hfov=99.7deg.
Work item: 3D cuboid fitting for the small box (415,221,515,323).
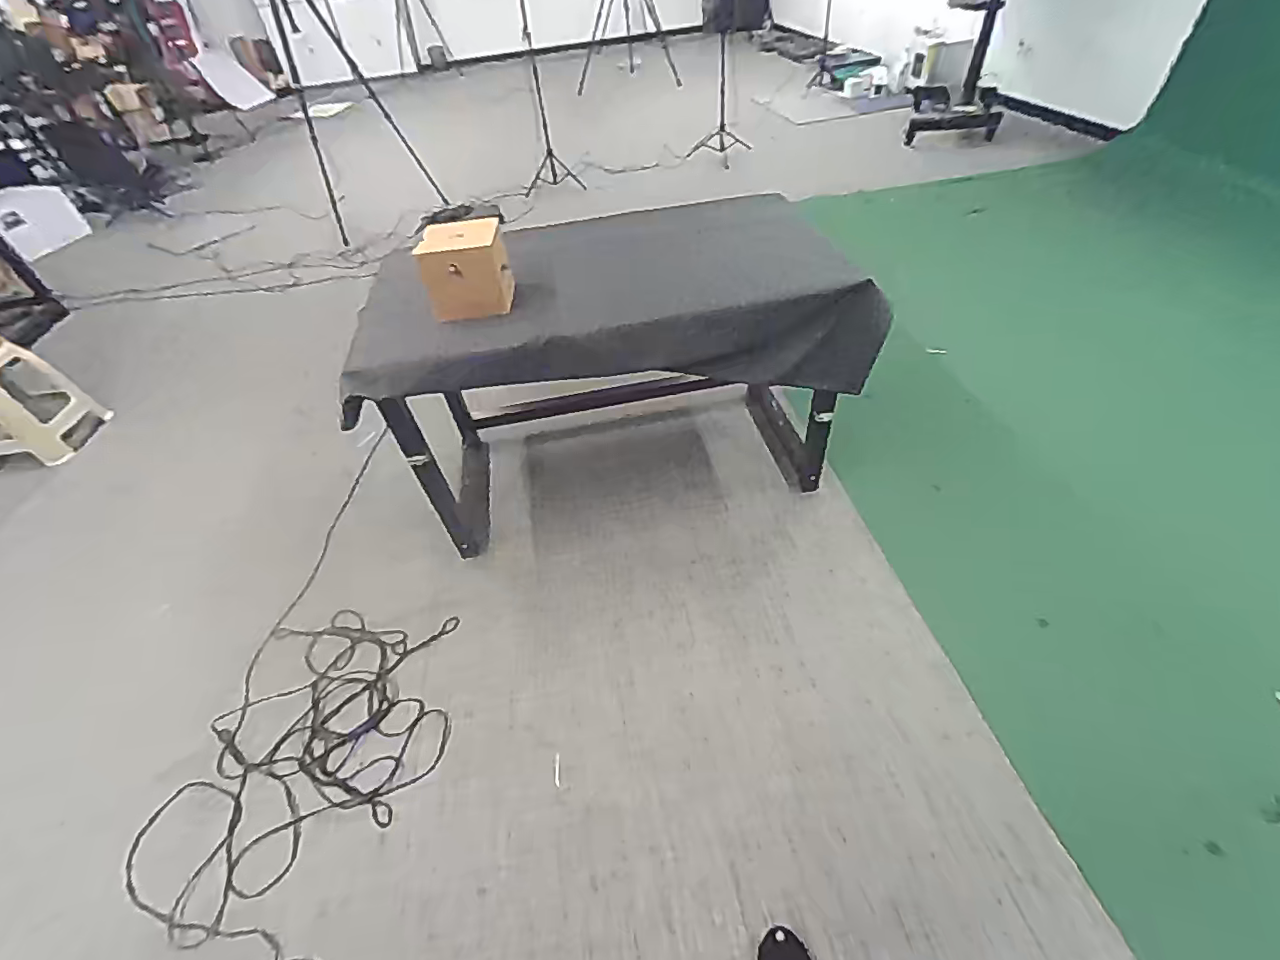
[{"bbox_3d":[-0.403,-0.492,1.286,0.179,0.176,0.168,-6,45,0],"label":"small box"}]
